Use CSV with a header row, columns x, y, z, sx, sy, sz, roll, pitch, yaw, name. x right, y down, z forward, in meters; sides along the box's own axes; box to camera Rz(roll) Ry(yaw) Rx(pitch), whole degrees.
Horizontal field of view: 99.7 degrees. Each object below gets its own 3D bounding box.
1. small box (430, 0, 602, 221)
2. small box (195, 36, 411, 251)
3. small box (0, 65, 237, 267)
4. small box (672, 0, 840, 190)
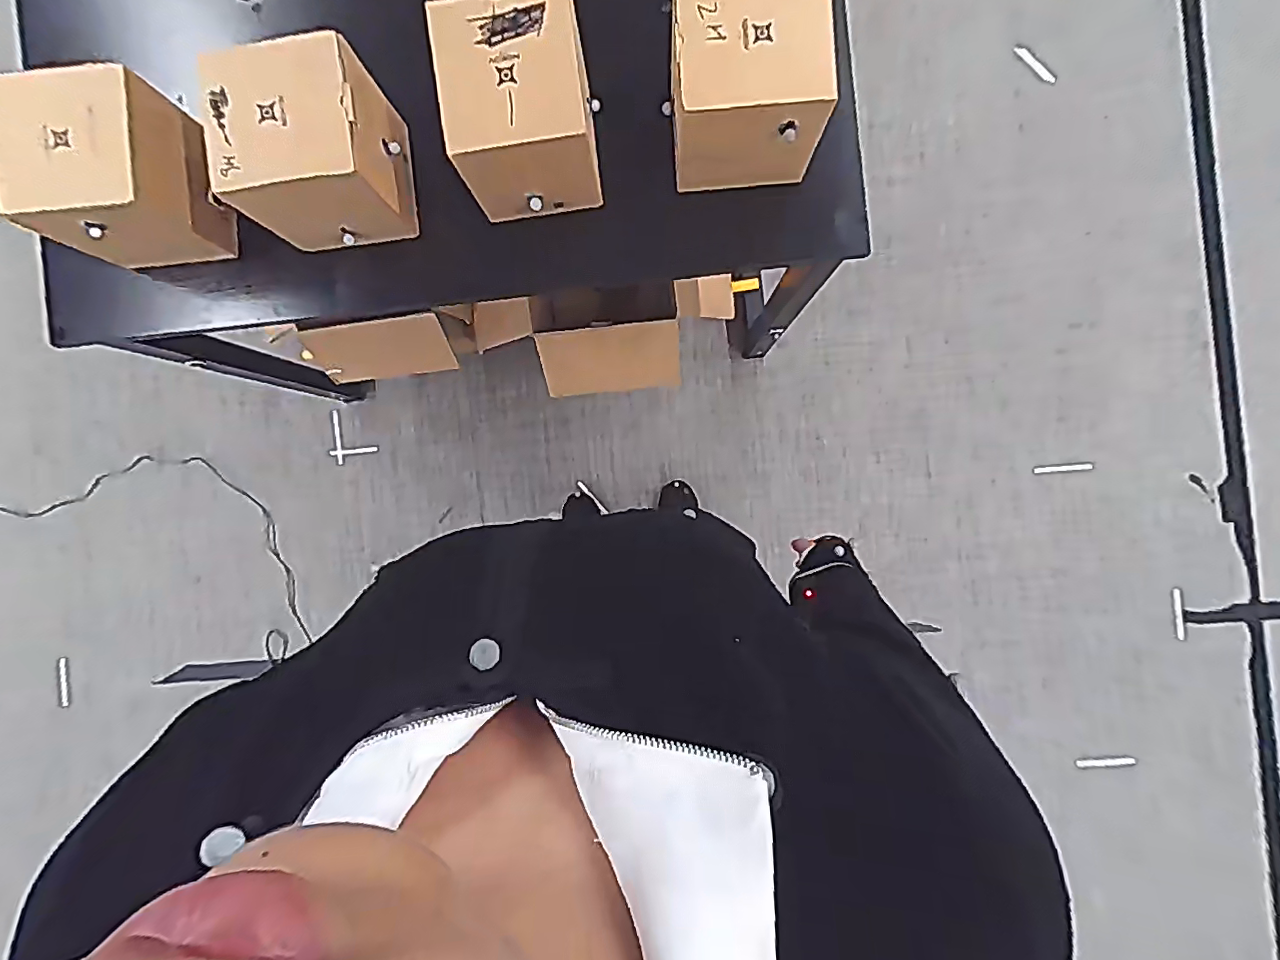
x,y,z,sx,sy,sz,roll,pitch,yaw,name
-0.145,-0.463,0.688,0.168,0.176,0.179,-7,90,2,small box
-0.414,-0.418,0.698,0.179,0.176,0.168,-7,90,1,small box
-0.676,-0.393,0.706,0.179,0.176,0.168,-4,90,1,small box
0.133,-0.491,0.677,0.179,0.176,0.168,-3,89,3,small box
